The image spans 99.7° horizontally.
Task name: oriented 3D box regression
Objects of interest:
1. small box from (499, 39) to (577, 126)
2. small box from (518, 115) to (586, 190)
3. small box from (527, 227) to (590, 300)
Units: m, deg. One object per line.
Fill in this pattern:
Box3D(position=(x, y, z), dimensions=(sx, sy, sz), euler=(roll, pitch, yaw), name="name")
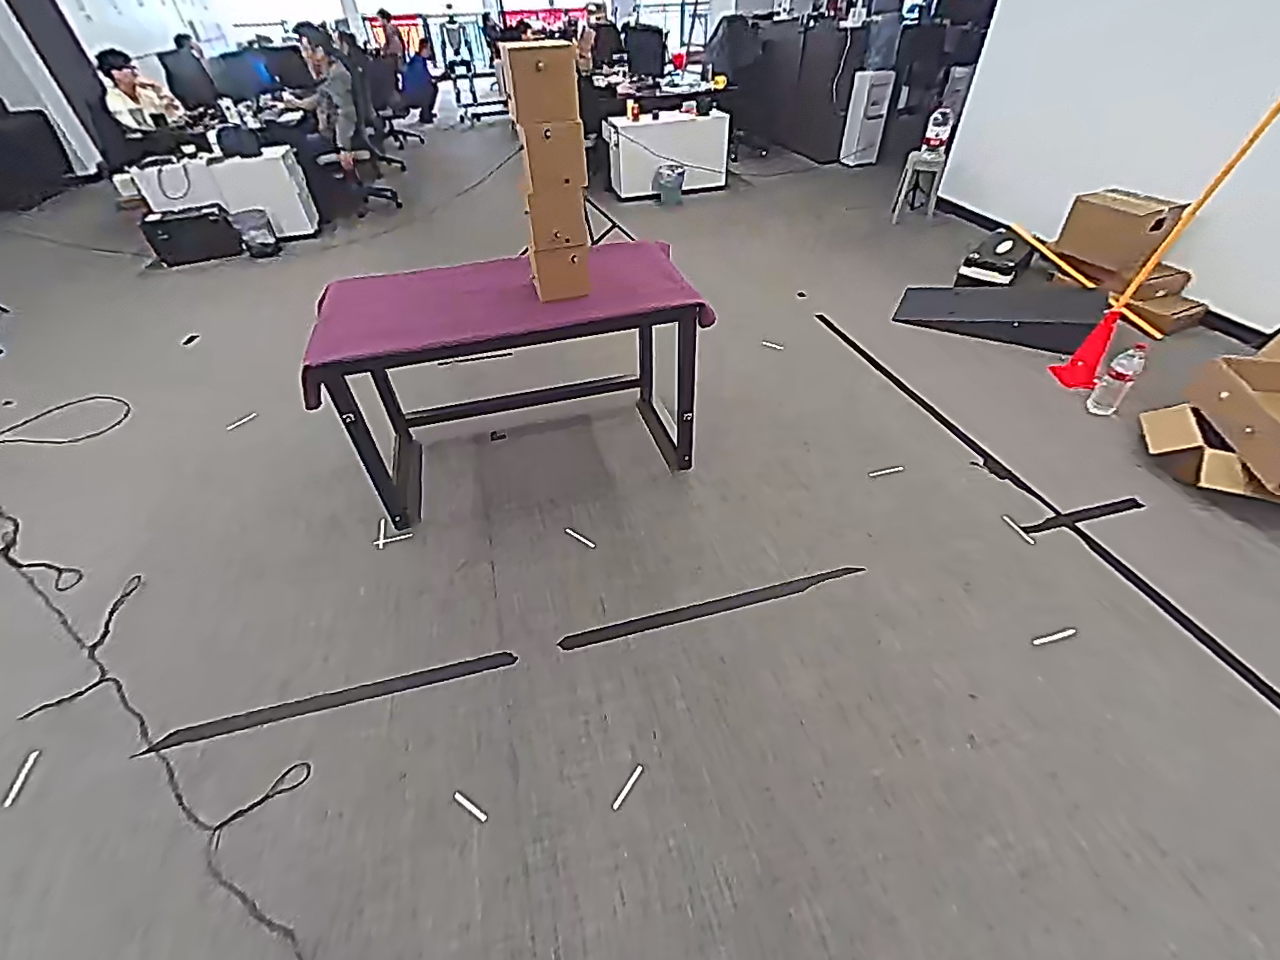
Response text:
Box3D(position=(-0.275, -1.091, 1.482), dimensions=(0.179, 0.176, 0.168), euler=(-14, 44, -12), name="small box")
Box3D(position=(-0.259, -0.965, 1.585), dimensions=(0.168, 0.176, 0.179), euler=(-13, 44, -11), name="small box")
Box3D(position=(-0.267, -0.721, 1.804), dimensions=(0.179, 0.176, 0.168), euler=(-13, 43, -11), name="small box")
